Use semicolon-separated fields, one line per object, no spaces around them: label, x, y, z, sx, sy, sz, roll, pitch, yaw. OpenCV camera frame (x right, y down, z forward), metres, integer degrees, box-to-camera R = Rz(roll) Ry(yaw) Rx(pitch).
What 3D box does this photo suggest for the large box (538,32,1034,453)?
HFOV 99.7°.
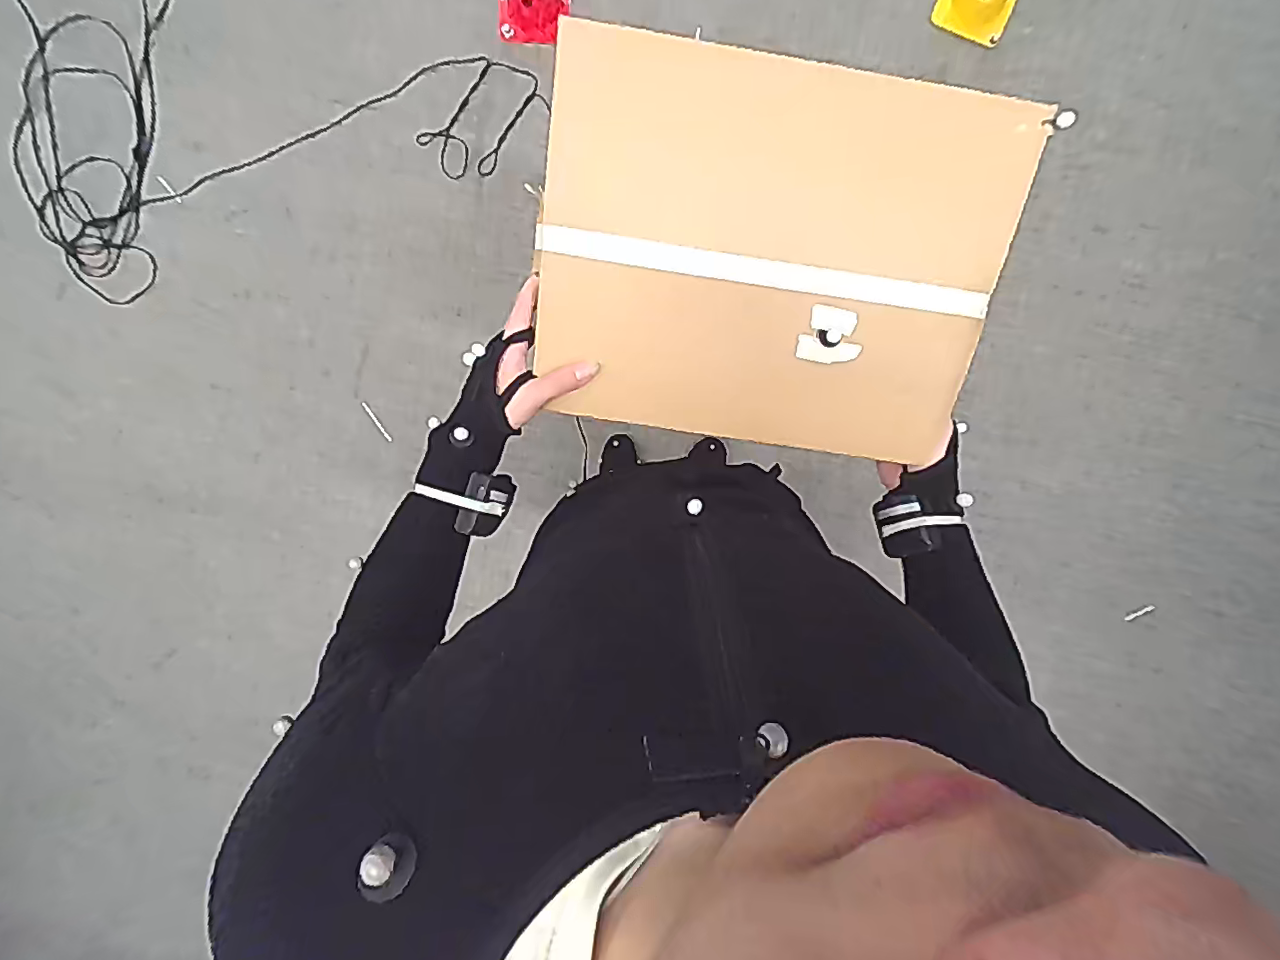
large box;0.111;-0.242;0.629;0.408;0.320;0.320;8;111;-3
